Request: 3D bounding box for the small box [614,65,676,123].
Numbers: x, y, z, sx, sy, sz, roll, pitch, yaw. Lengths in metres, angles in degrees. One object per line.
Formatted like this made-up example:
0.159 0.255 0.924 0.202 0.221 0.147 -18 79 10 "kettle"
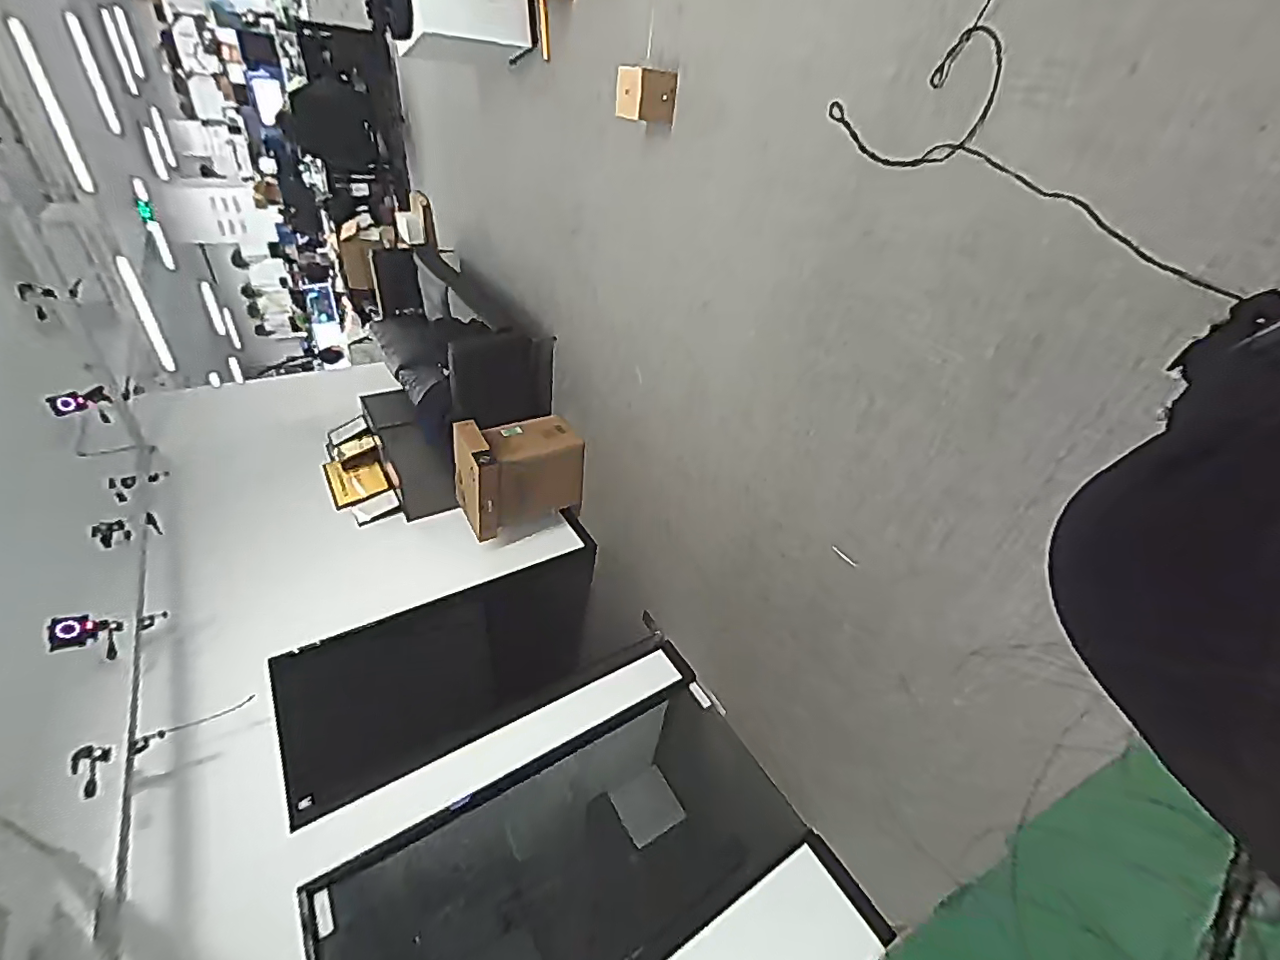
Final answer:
0.017 -1.516 2.126 0.179 0.176 0.168 45 141 40 "small box"
